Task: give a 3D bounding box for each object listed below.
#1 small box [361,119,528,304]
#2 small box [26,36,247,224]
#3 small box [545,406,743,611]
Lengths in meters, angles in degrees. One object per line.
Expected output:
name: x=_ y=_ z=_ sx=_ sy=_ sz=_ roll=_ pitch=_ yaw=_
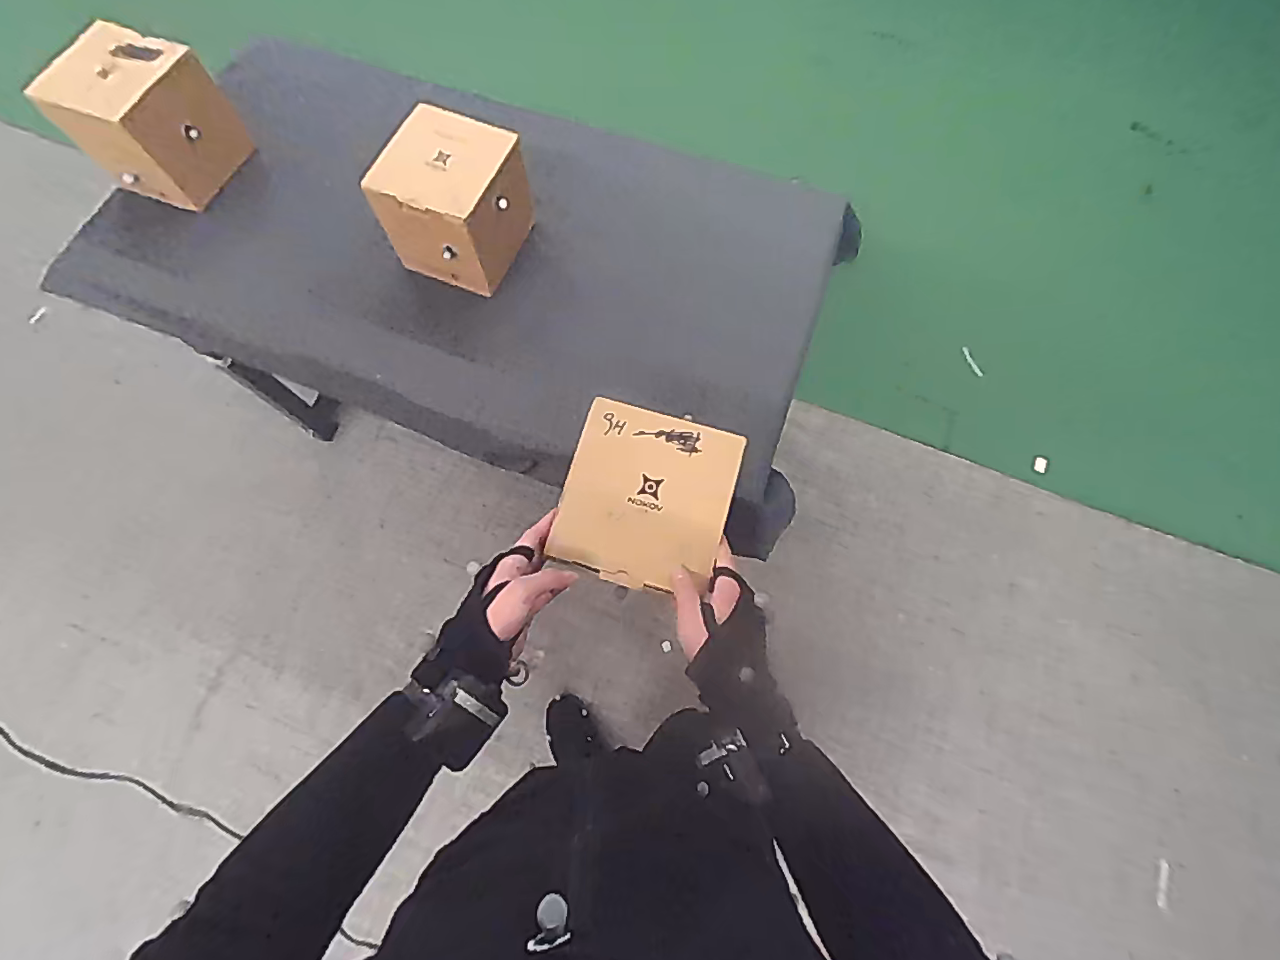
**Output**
small box: x=-0.291 y=-0.413 z=0.854 sx=0.168 sy=0.176 sz=0.179 roll=21 pitch=71 yaw=4
small box: x=-0.800 y=-0.566 z=0.888 sx=0.168 sy=0.176 sz=0.179 roll=19 pitch=72 yaw=5
small box: x=0.007 y=0.042 z=0.625 sx=0.168 sy=0.176 sz=0.179 roll=16 pitch=78 yaw=3
